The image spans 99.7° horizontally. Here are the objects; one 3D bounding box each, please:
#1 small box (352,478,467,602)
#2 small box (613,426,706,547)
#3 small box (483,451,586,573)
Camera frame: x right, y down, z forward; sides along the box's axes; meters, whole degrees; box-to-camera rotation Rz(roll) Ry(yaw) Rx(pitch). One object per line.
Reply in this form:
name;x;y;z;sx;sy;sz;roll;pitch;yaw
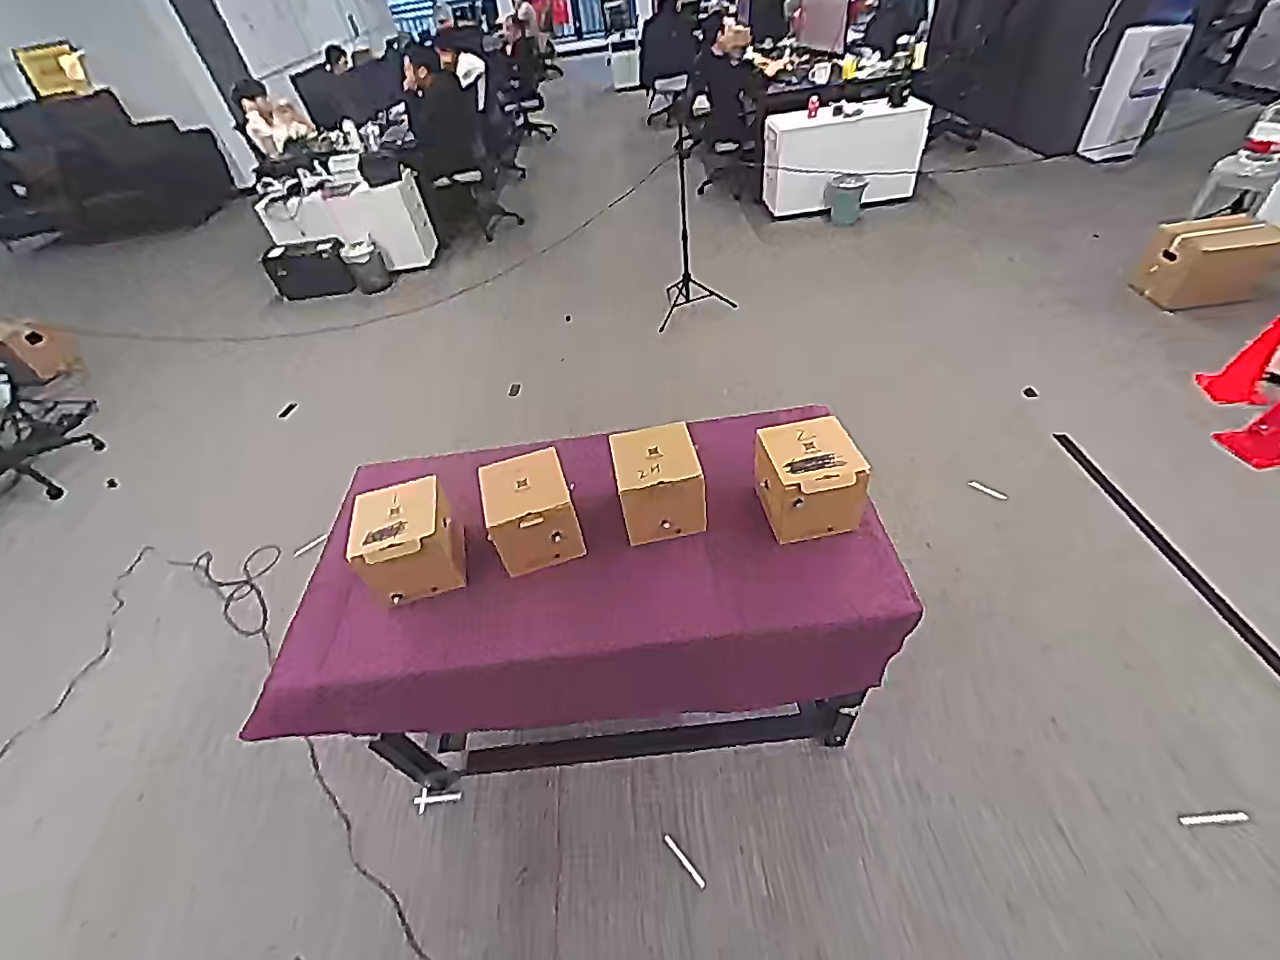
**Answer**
small box;-0.462;0.130;1.111;0.168;0.176;0.179;-15;44;-7
small box;0.040;0.015;1.146;0.168;0.176;0.179;-11;45;-1
small box;-0.218;0.073;1.132;0.168;0.176;0.179;-16;45;-8
